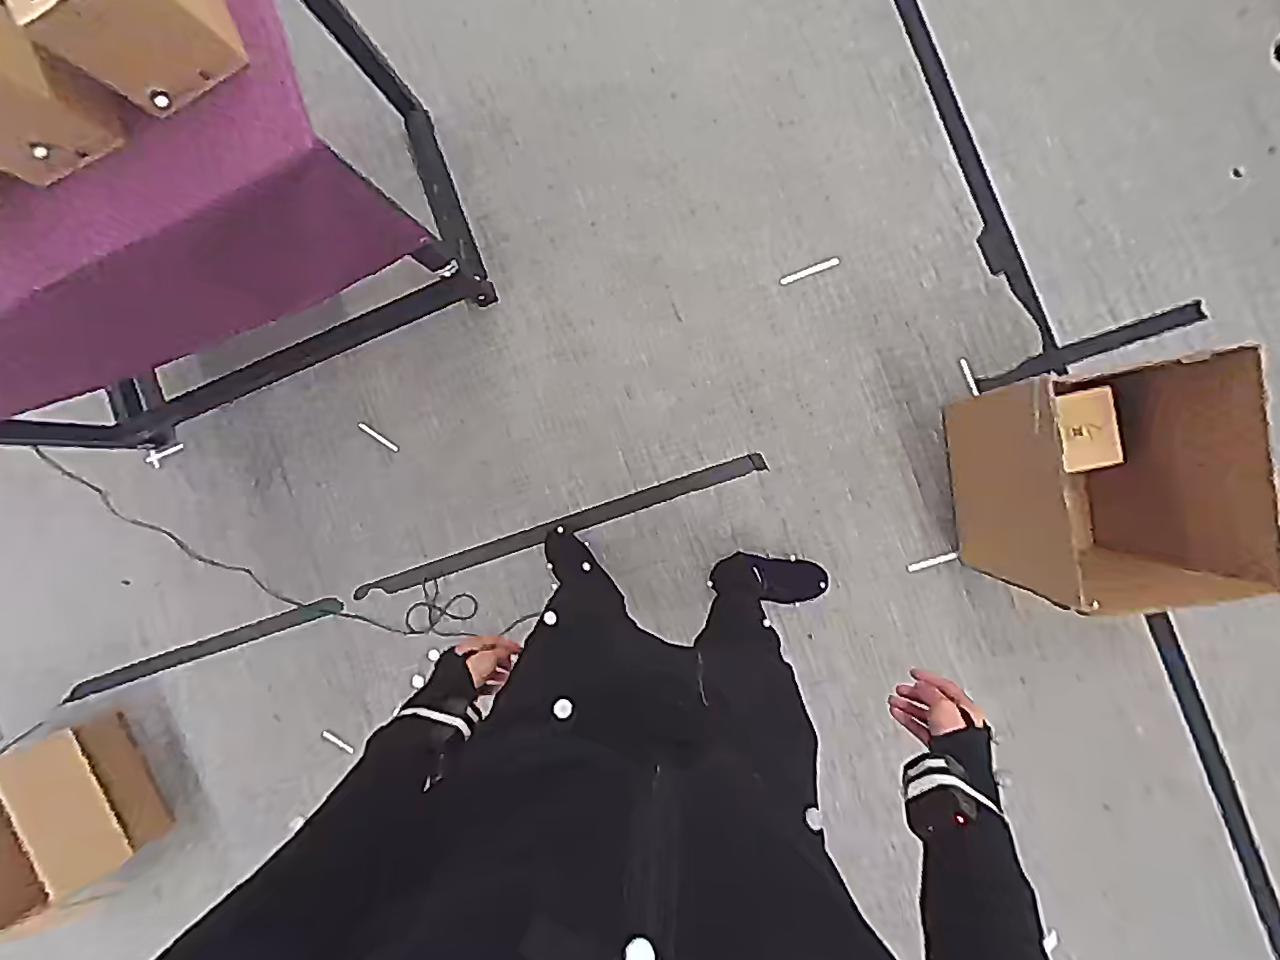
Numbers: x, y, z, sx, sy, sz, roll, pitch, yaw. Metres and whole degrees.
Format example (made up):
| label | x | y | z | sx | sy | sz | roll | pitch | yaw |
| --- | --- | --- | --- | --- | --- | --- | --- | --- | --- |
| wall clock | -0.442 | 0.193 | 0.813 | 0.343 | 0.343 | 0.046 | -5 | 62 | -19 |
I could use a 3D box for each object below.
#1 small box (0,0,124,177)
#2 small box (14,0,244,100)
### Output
| label | x | y | z | sx | sy | sz | roll | pitch | yaw |
| --- | --- | --- | --- | --- | --- | --- | --- | --- | --- |
| small box | -0.874 | -0.561 | 0.736 | 0.168 | 0.176 | 0.179 | -19 | 89 | 8 |
| small box | -0.673 | -0.647 | 0.708 | 0.168 | 0.176 | 0.179 | -25 | 87 | 7 |
